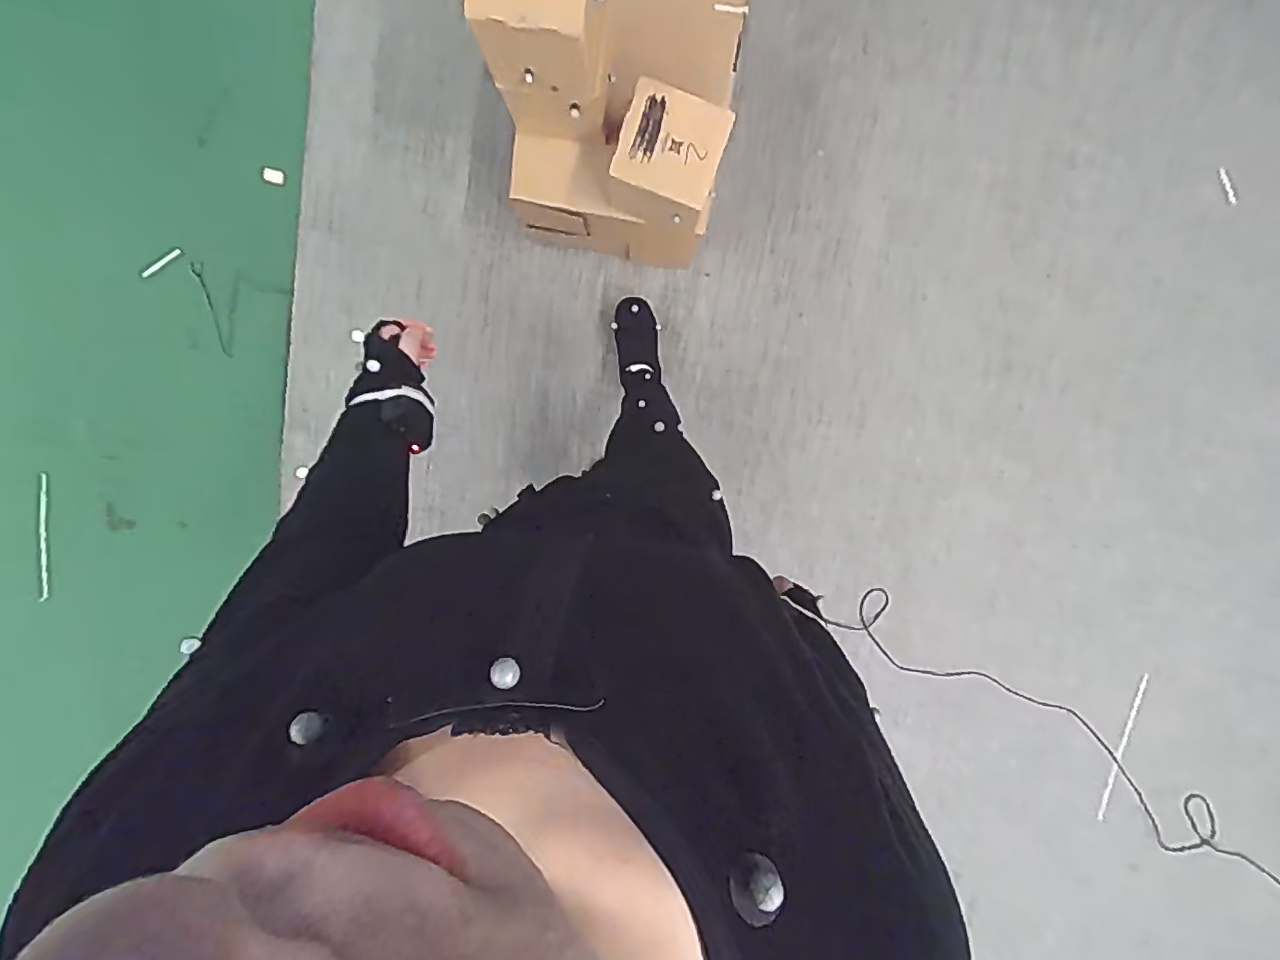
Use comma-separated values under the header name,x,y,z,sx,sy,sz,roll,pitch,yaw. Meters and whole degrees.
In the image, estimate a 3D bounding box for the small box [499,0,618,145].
name,x,y,z,sx,sy,sz,roll,pitch,yaw
small box,-0.137,-0.733,0.969,0.179,0.176,0.168,9,97,-1

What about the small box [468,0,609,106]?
name,x,y,z,sx,sy,sz,roll,pitch,yaw
small box,-0.141,-0.710,0.808,0.168,0.176,0.179,10,98,-1
